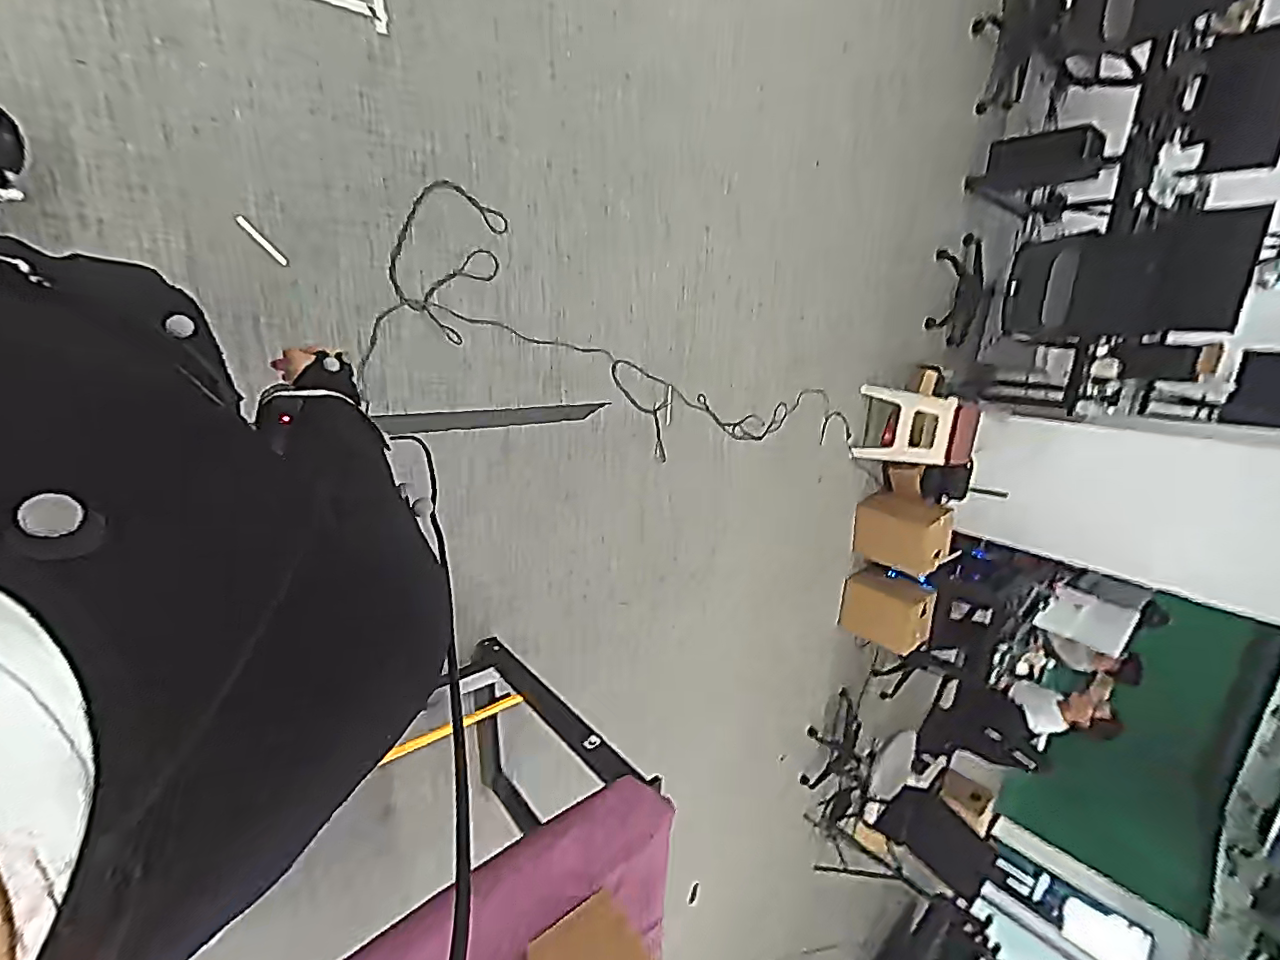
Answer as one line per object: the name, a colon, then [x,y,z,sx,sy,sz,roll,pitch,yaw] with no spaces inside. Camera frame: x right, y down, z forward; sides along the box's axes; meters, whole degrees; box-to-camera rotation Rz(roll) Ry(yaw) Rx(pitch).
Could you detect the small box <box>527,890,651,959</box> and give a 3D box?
small box: [-0.098,0.925,0.995,0.179,0.176,0.168,-14,113,-37]
